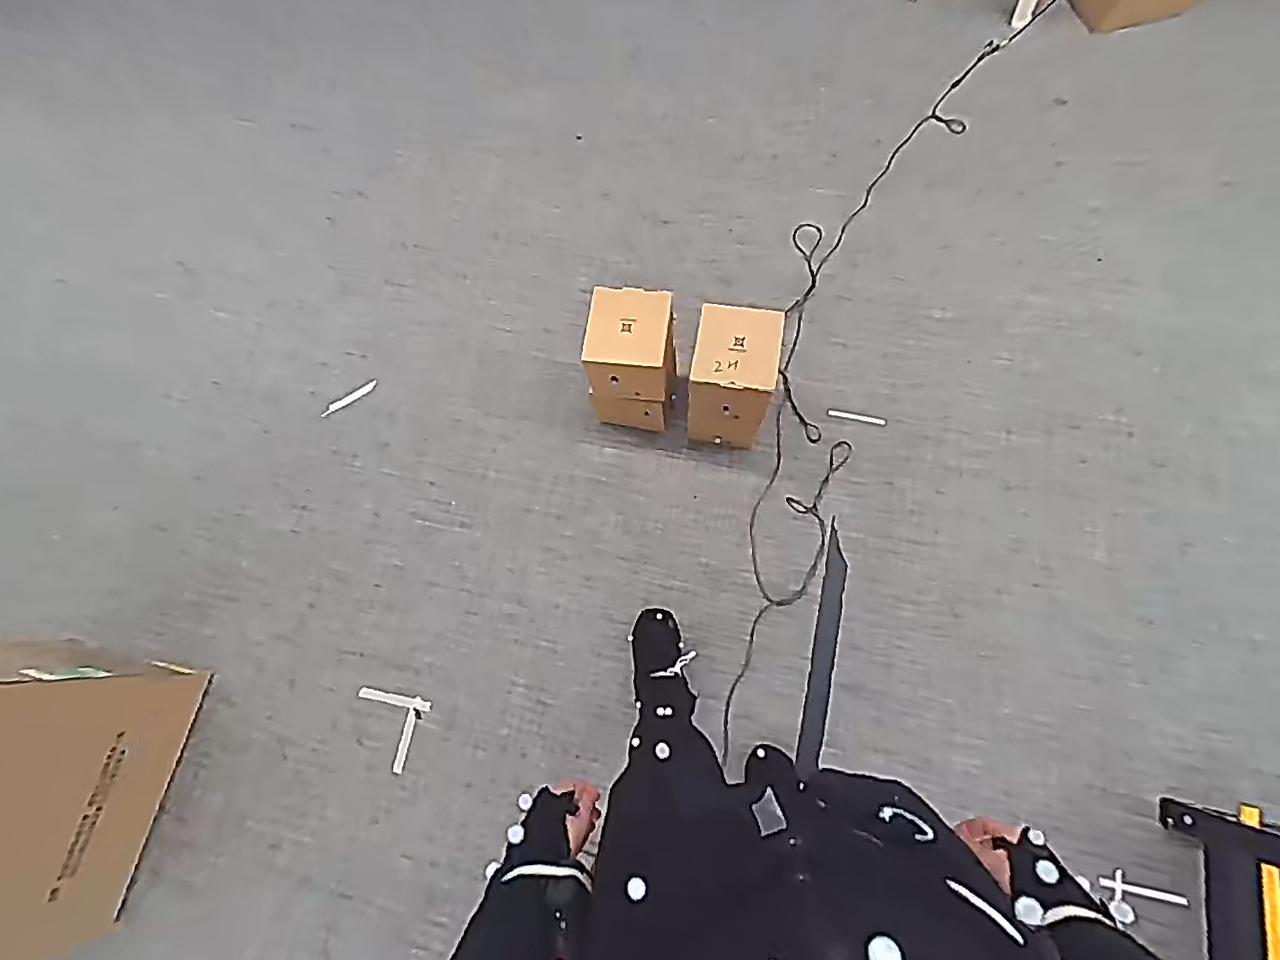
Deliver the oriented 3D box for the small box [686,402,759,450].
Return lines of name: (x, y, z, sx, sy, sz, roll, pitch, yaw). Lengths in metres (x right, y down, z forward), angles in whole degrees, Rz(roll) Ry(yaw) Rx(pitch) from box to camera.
small box: (0.204, -0.190, 1.288, 0.168, 0.176, 0.179, 11, 76, 8)

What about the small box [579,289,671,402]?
small box: (-0.024, -0.283, 1.164, 0.168, 0.176, 0.179, 6, 73, 6)

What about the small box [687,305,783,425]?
small box: (0.192, -0.235, 1.130, 0.168, 0.176, 0.179, 10, 75, 7)
